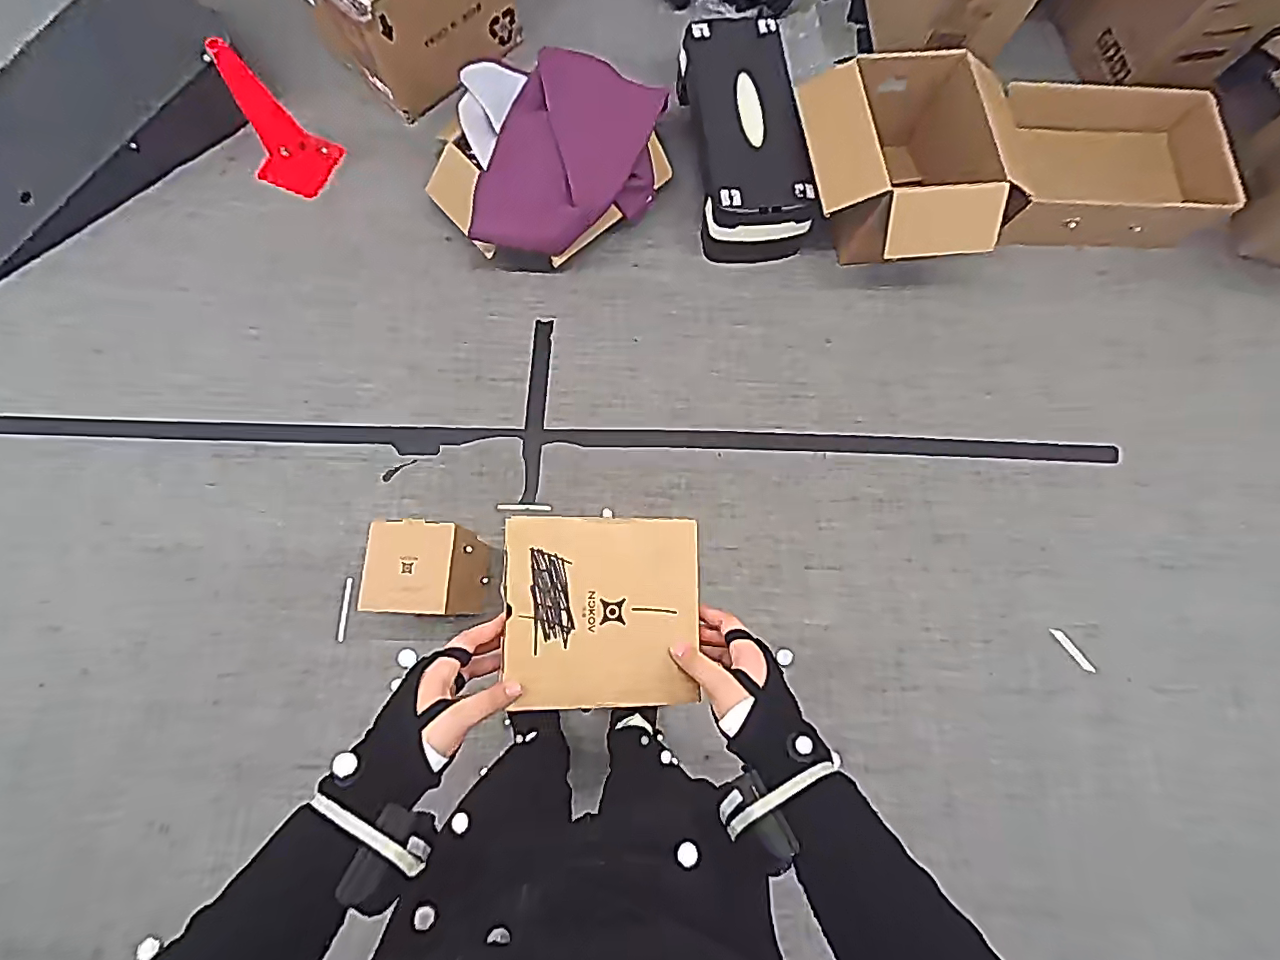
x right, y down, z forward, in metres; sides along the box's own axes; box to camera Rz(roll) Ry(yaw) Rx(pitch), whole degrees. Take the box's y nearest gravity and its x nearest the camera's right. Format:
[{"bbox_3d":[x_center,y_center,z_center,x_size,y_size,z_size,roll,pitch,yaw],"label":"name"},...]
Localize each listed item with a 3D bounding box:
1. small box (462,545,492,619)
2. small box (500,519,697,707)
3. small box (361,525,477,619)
[{"bbox_3d":[-0.458,0.236,1.270,0.179,0.176,0.168,3,76,-1],"label":"small box"},{"bbox_3d":[-0.044,0.132,0.567,0.179,0.176,0.168,2,81,-8],"label":"small box"},{"bbox_3d":[-0.444,0.193,1.114,0.168,0.176,0.179,2,77,-1],"label":"small box"}]
